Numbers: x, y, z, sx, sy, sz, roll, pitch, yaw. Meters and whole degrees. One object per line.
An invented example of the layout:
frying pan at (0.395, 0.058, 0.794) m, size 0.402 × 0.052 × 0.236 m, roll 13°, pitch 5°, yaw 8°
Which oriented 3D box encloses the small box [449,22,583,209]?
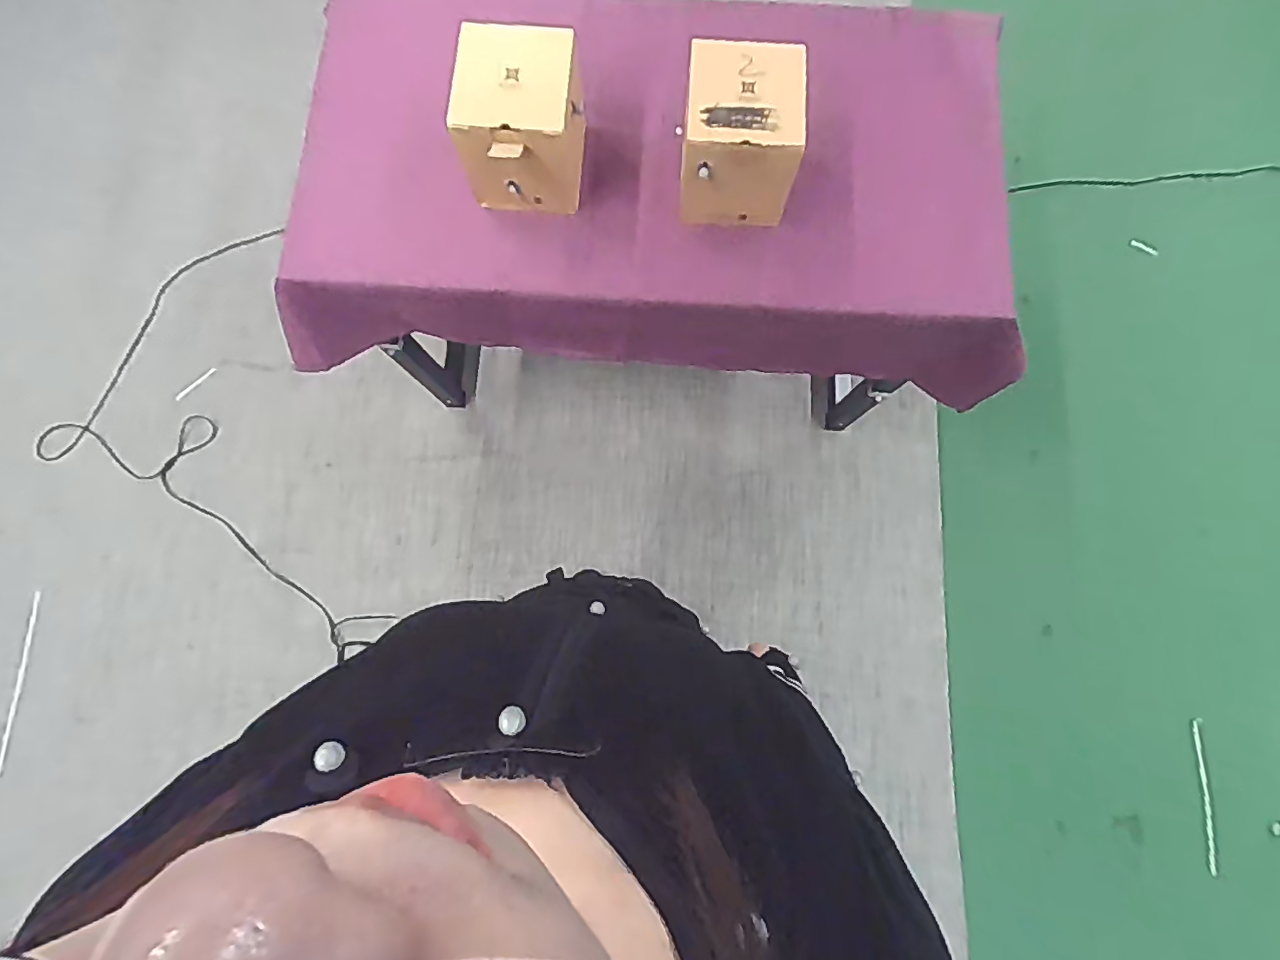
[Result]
small box at (-0.184, -0.566, 0.856) m, size 0.168 × 0.176 × 0.179 m, roll 4°, pitch 80°, yaw 0°
